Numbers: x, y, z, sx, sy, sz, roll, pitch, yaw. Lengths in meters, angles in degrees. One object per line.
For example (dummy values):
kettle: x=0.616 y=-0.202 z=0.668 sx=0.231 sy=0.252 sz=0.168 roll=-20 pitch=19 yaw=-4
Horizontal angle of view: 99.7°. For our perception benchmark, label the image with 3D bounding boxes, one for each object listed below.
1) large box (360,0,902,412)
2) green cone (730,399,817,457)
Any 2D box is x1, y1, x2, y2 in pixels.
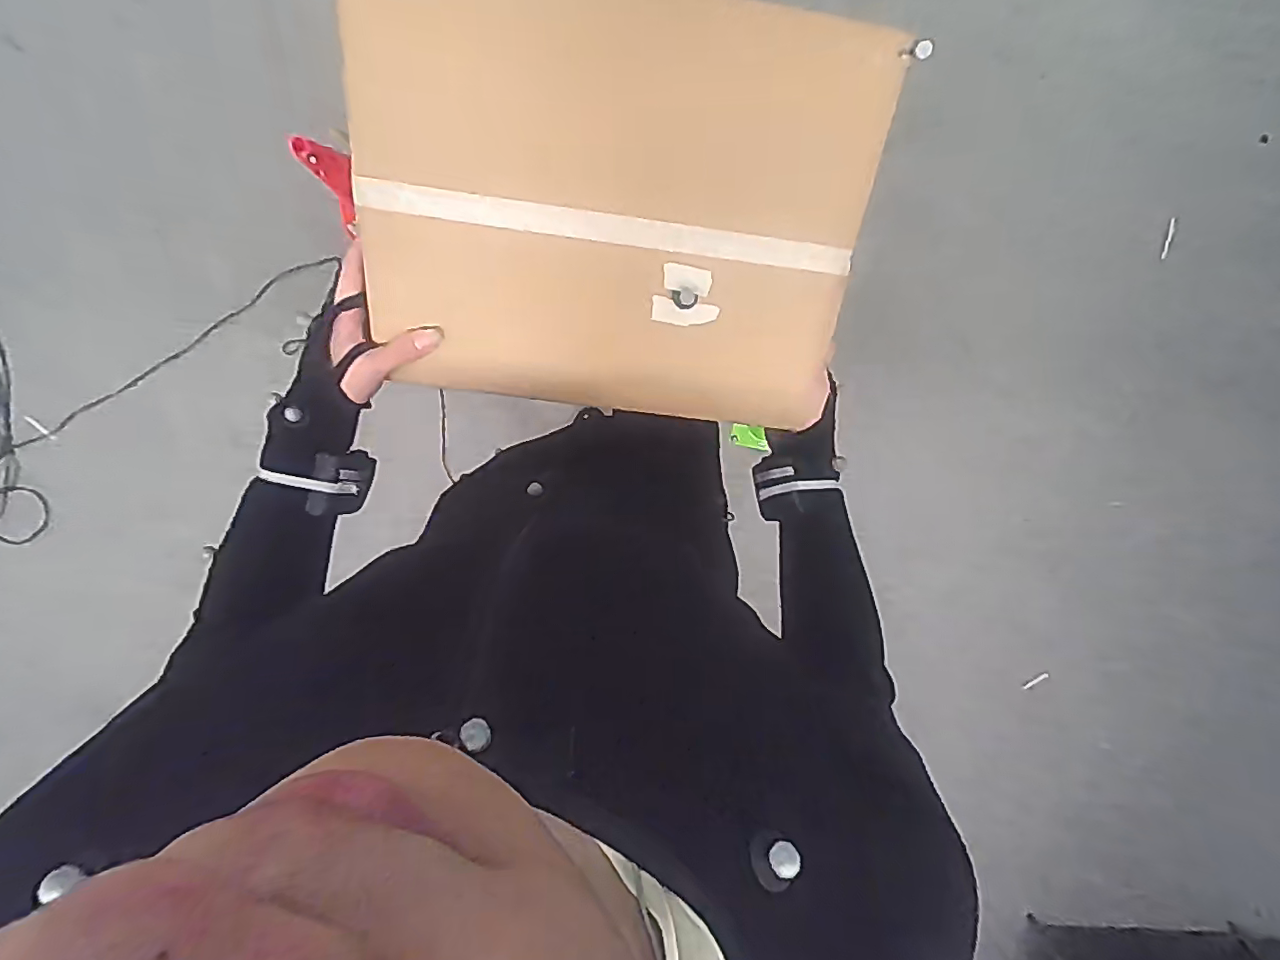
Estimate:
large box: x=-0.025 y=-0.285 z=0.585 sx=0.408 sy=0.320 sz=0.320 roll=6 pitch=117 yaw=-6
green cone: x=0.386 y=-0.146 z=1.429 sx=0.200 sy=0.368 sz=0.202 roll=10 pitch=100 yaw=-5
